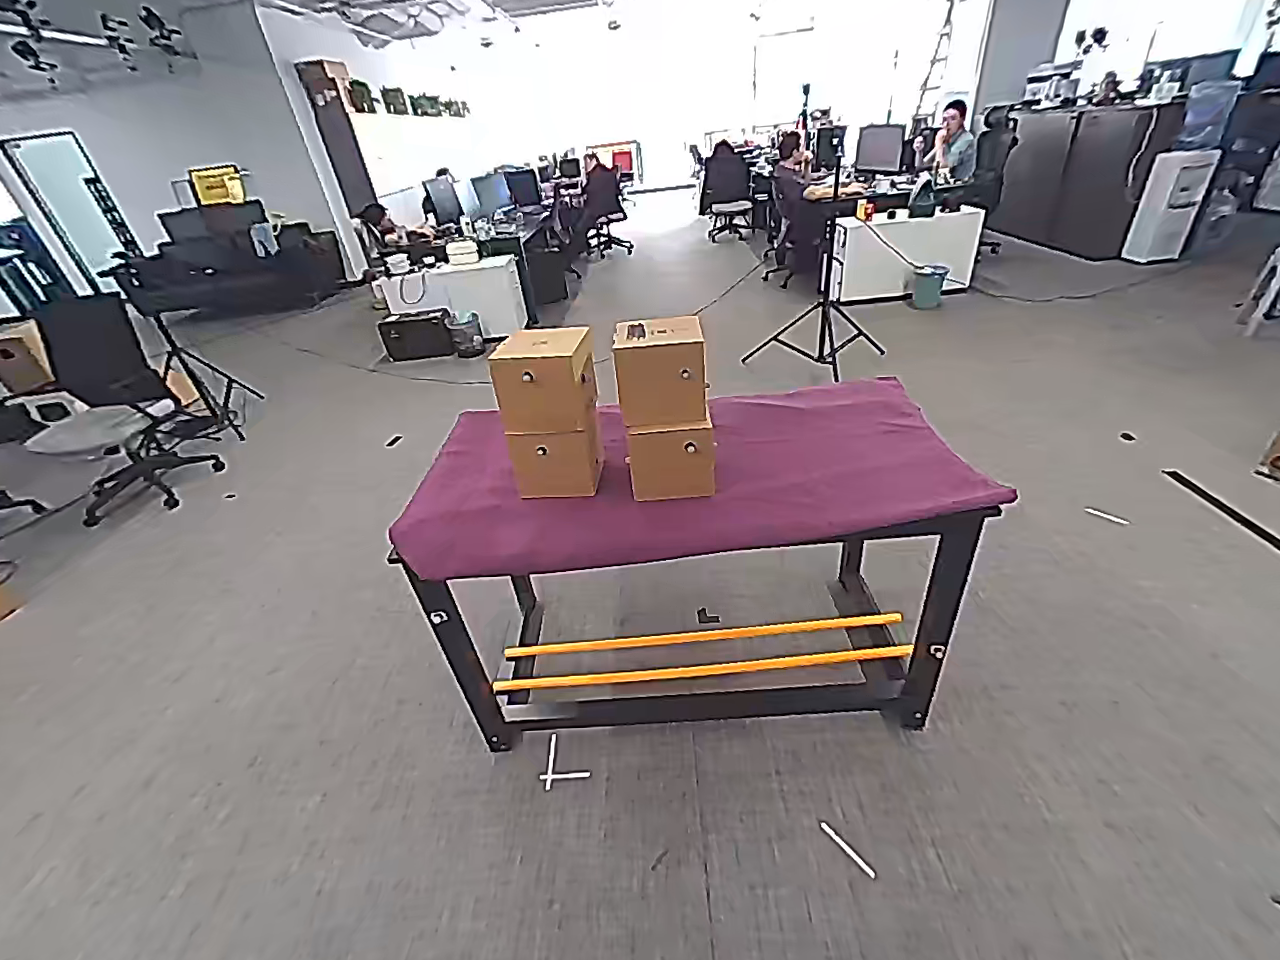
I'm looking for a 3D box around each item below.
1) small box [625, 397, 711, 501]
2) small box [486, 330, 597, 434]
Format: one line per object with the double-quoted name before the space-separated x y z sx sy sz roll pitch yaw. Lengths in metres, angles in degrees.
"small box" 0.063 -0.068 1.190 0.179 0.176 0.168 -5 32 3
"small box" -0.198 -0.208 1.152 0.179 0.176 0.168 -1 33 10
